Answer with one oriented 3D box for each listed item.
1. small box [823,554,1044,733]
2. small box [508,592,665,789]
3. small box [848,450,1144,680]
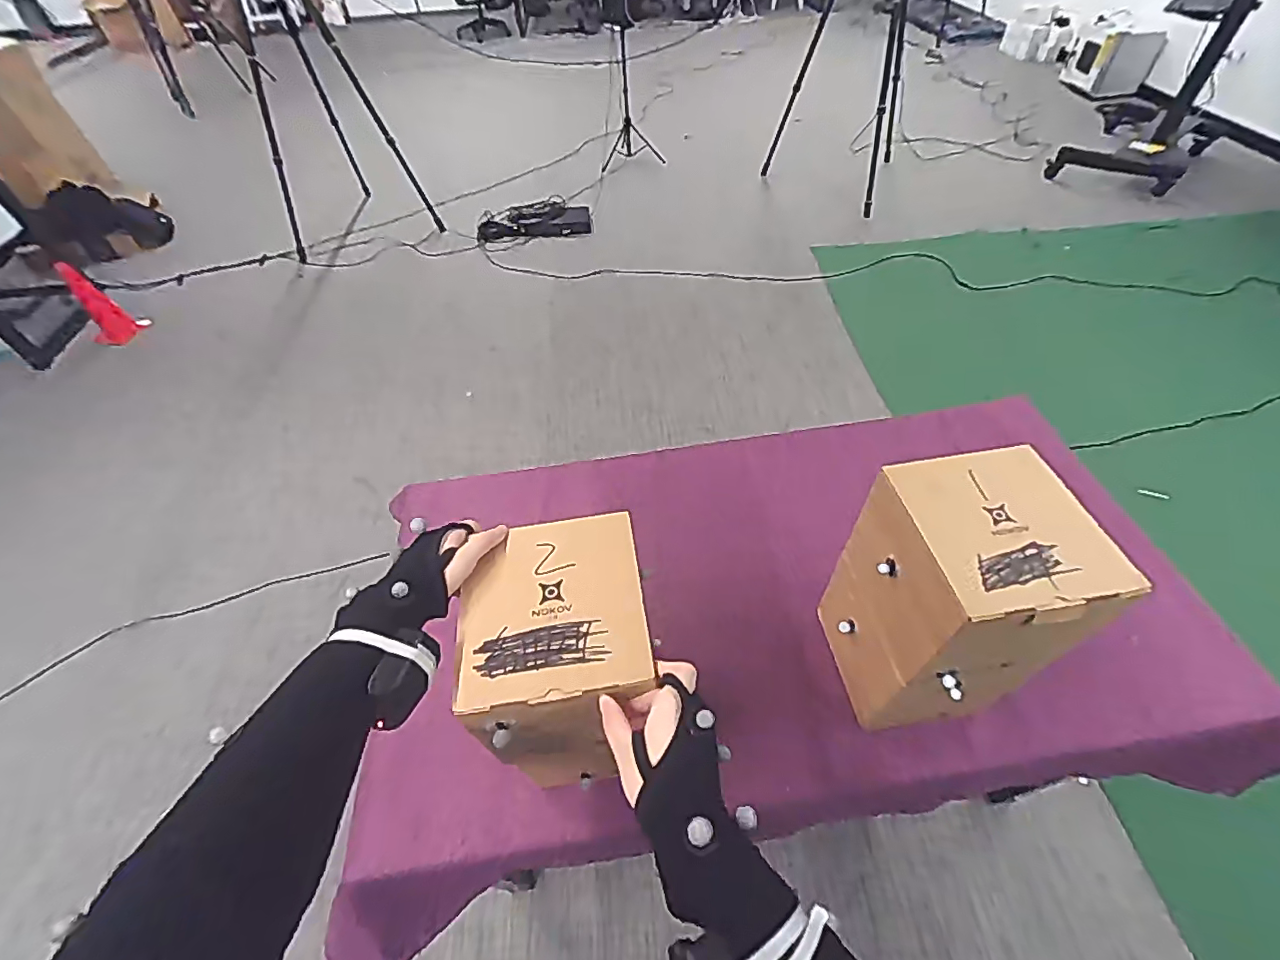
[{"bbox_3d":[0.353,0.202,0.697,0.168,0.176,0.179,-9,49,-1],"label":"small box"},{"bbox_3d":[-0.062,0.265,0.678,0.168,0.176,0.179,-8,51,-2],"label":"small box"},{"bbox_3d":[0.345,0.096,0.571,0.168,0.176,0.179,-8,50,-3],"label":"small box"}]
